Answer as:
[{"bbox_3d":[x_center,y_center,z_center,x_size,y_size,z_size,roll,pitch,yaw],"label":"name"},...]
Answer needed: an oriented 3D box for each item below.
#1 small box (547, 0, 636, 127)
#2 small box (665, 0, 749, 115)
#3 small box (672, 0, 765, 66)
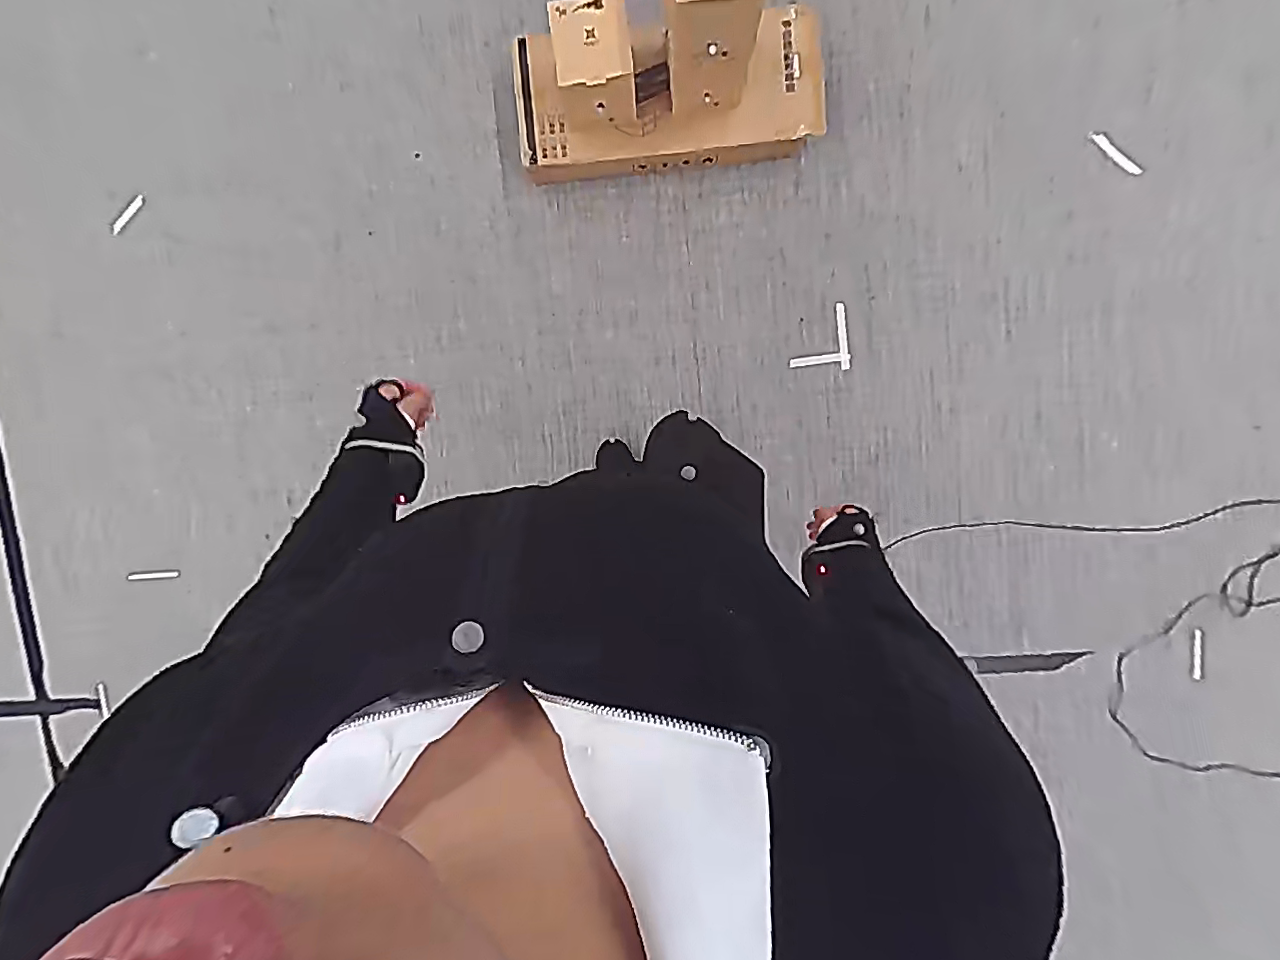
[{"bbox_3d":[-0.102,-0.932,1.221,0.168,0.176,0.179,-7,95,3],"label":"small box"},{"bbox_3d":[0.144,-0.961,1.208,0.168,0.176,0.179,-5,94,3],"label":"small box"},{"bbox_3d":[0.146,-0.950,1.044,0.168,0.176,0.179,-2,95,3],"label":"small box"}]
